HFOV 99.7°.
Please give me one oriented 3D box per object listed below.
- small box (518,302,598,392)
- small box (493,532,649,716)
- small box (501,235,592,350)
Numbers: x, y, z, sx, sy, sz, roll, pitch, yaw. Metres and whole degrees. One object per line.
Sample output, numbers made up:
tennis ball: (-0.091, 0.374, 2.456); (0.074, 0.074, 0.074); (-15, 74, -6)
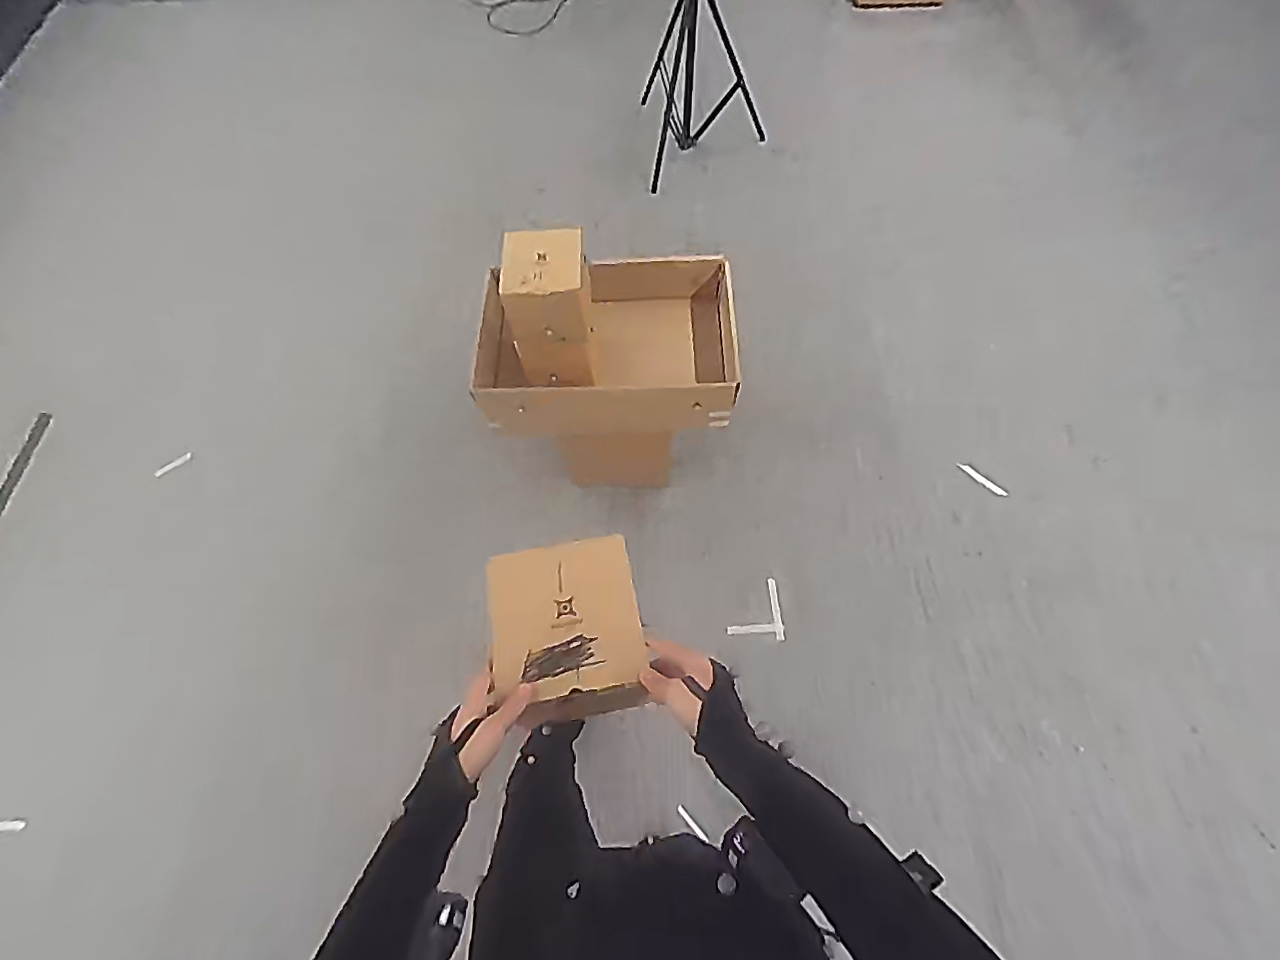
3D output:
small box: (-0.196, -0.336, 1.336); (0.168, 0.176, 0.179); (-2, 65, 1)
small box: (-0.082, 0.188, 0.680); (0.168, 0.176, 0.179); (-9, 60, -6)
small box: (-0.197, -0.408, 1.188); (0.168, 0.176, 0.179); (-2, 66, 1)
